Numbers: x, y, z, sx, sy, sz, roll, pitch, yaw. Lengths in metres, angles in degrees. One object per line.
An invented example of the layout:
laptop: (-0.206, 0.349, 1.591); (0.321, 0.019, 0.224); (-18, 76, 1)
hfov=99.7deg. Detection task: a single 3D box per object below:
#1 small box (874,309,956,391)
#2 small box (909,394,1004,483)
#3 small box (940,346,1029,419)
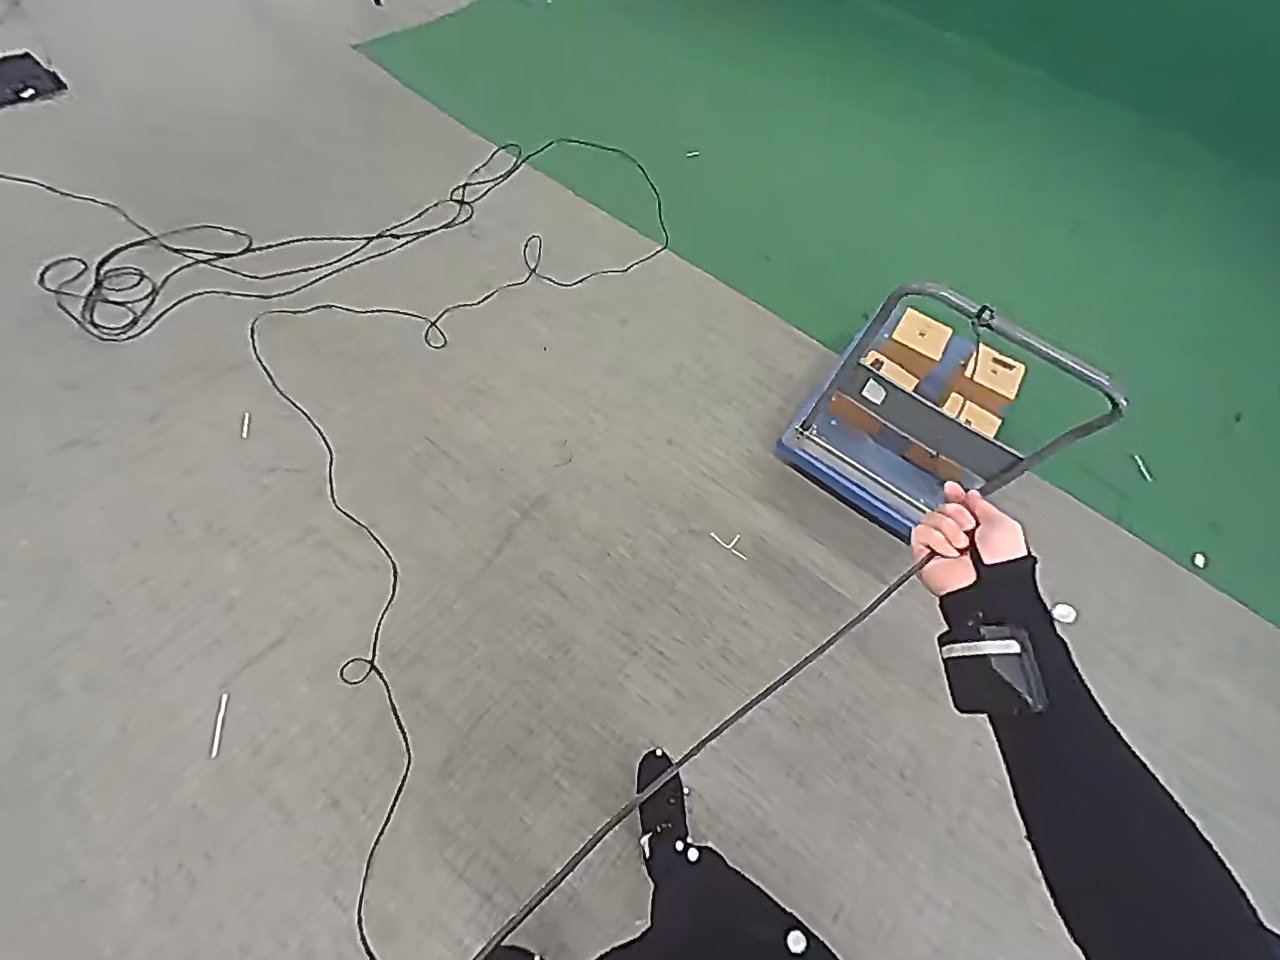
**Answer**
small box: (0.930, -0.438, 1.843); (0.168, 0.176, 0.179); (33, 63, 10)
small box: (0.974, -0.125, 1.680); (0.168, 0.176, 0.179); (37, 64, 13)
small box: (1.139, -0.304, 1.797); (0.168, 0.176, 0.179); (33, 64, 11)
